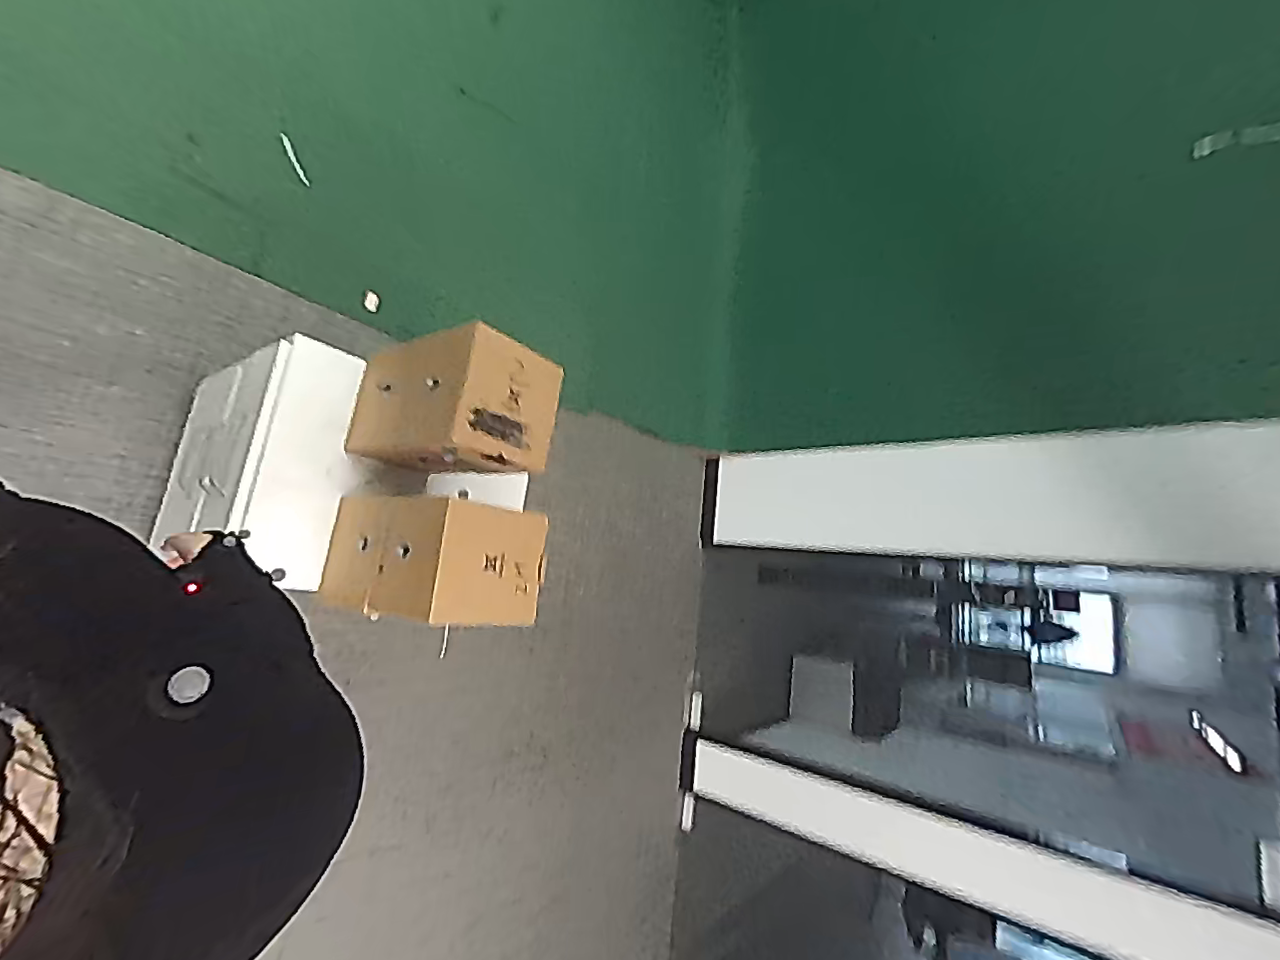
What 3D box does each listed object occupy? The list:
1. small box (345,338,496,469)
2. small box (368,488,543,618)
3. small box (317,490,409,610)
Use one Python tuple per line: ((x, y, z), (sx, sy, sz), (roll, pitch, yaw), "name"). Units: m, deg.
((-0.383, -0.123, 0.943), (0.168, 0.176, 0.179), (22, 74, -49), "small box")
((-0.275, 0.111, 0.806), (0.179, 0.176, 0.168), (19, 74, -50), "small box")
((-0.408, 0.120, 0.903), (0.168, 0.176, 0.179), (22, 71, -49), "small box")
